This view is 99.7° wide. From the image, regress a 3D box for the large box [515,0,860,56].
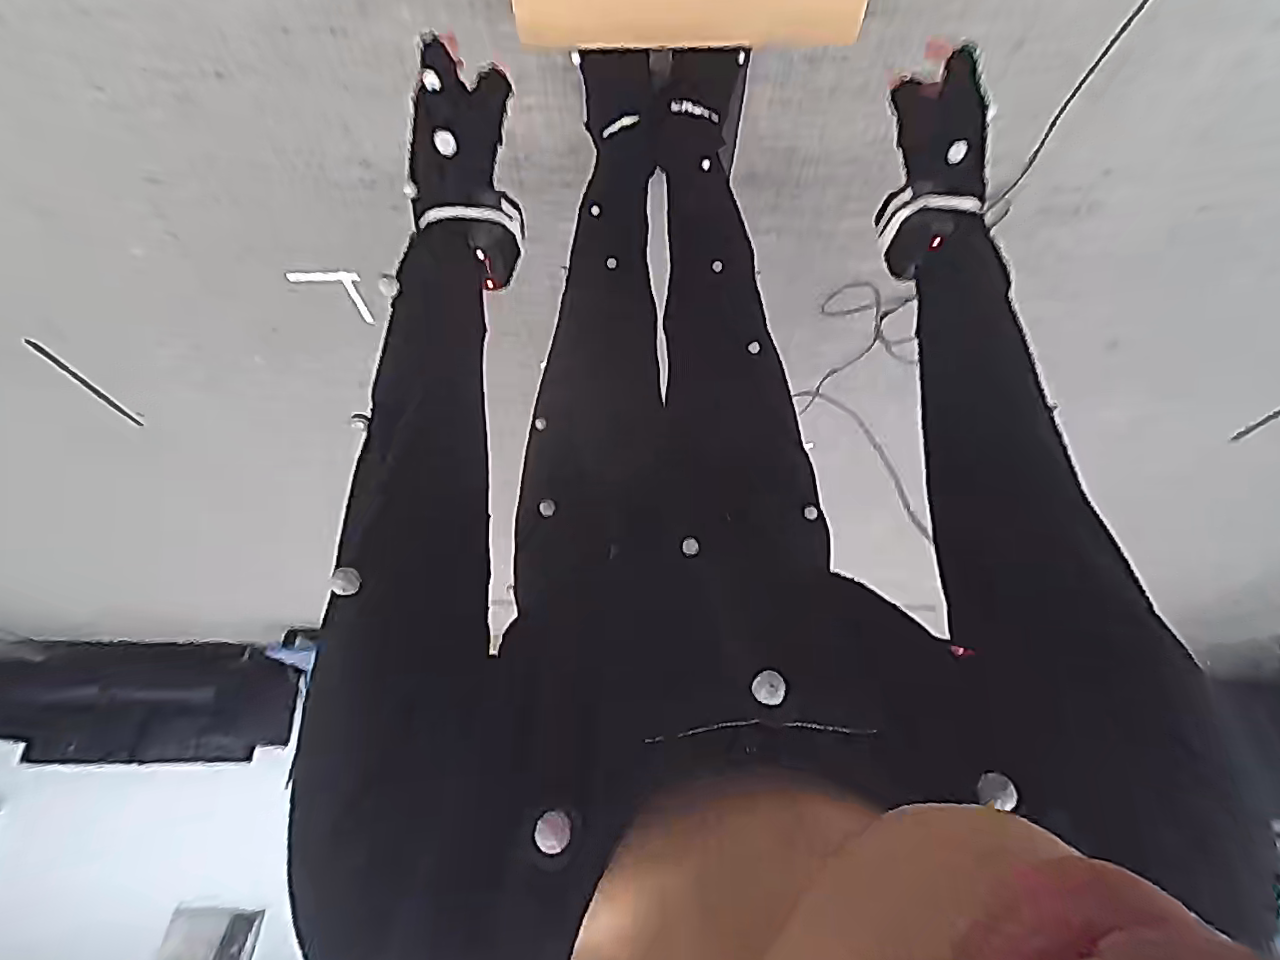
[{"bbox_3d":[0.048,-0.733,0.608,0.408,0.320,0.320,-1,149,1],"label":"large box"}]
